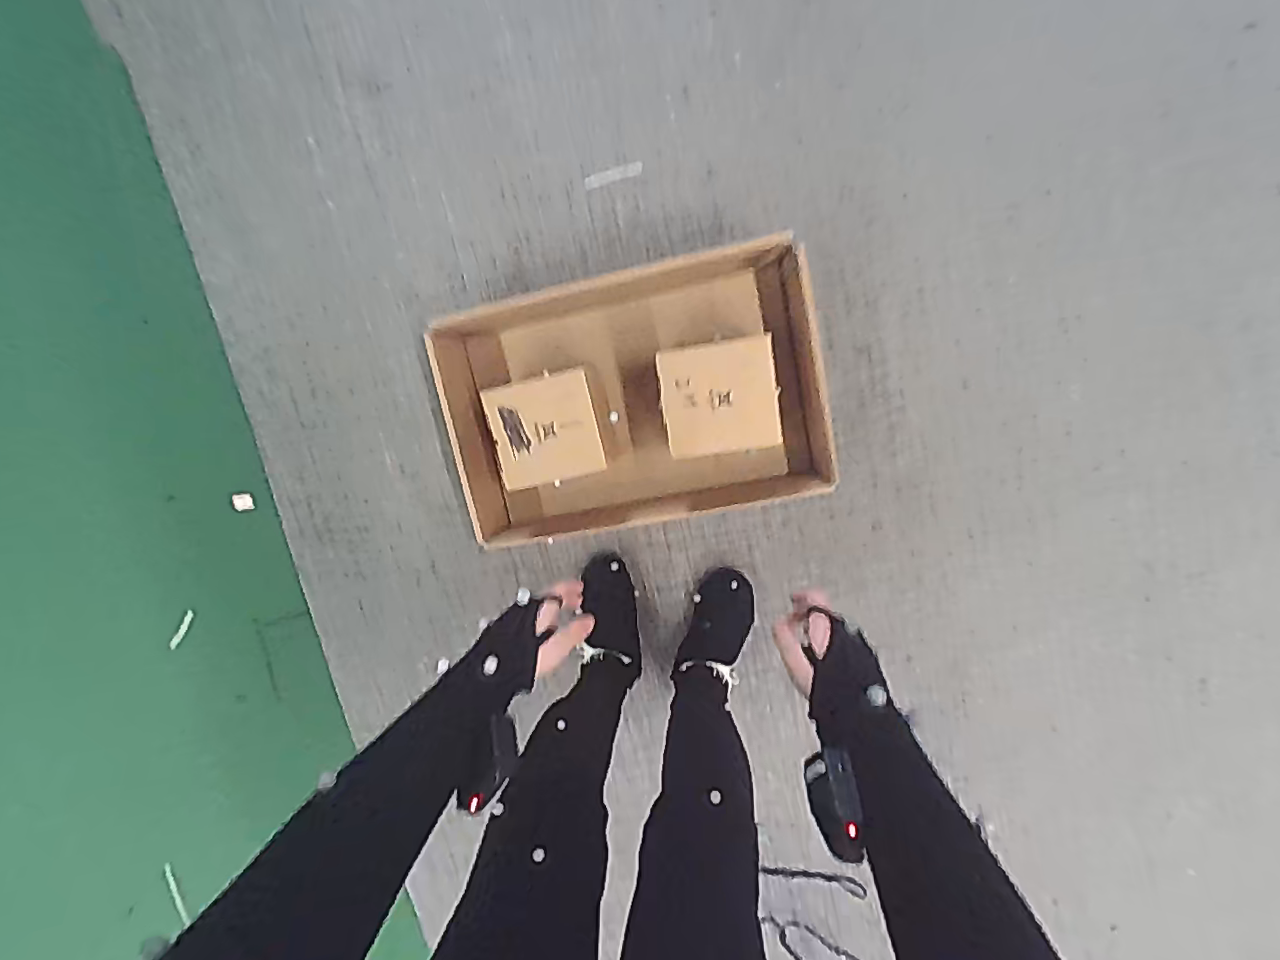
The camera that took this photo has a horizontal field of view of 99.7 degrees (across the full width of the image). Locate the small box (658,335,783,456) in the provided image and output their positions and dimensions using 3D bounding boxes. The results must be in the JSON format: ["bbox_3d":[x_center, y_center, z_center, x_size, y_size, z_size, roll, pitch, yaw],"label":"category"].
[{"bbox_3d":[0.131,-0.141,0.893,0.179,0.176,0.168,-7,99,9],"label":"small box"}]
